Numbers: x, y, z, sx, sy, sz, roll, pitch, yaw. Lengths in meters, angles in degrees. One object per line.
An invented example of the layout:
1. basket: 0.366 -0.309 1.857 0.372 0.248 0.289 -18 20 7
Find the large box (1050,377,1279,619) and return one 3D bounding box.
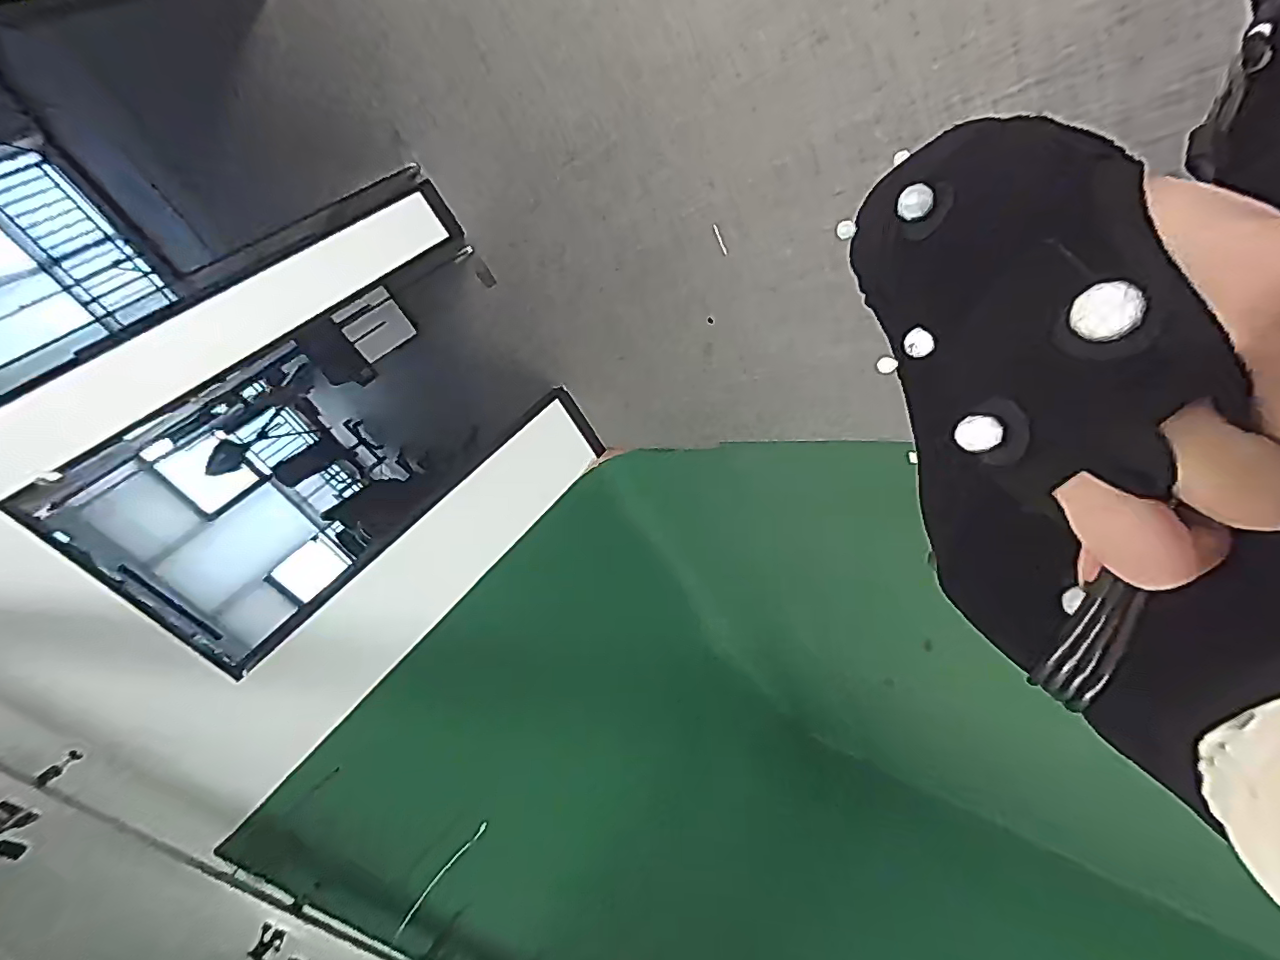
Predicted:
1. large box: 1.187 0.044 1.206 0.320 0.320 0.408 -6 126 54
